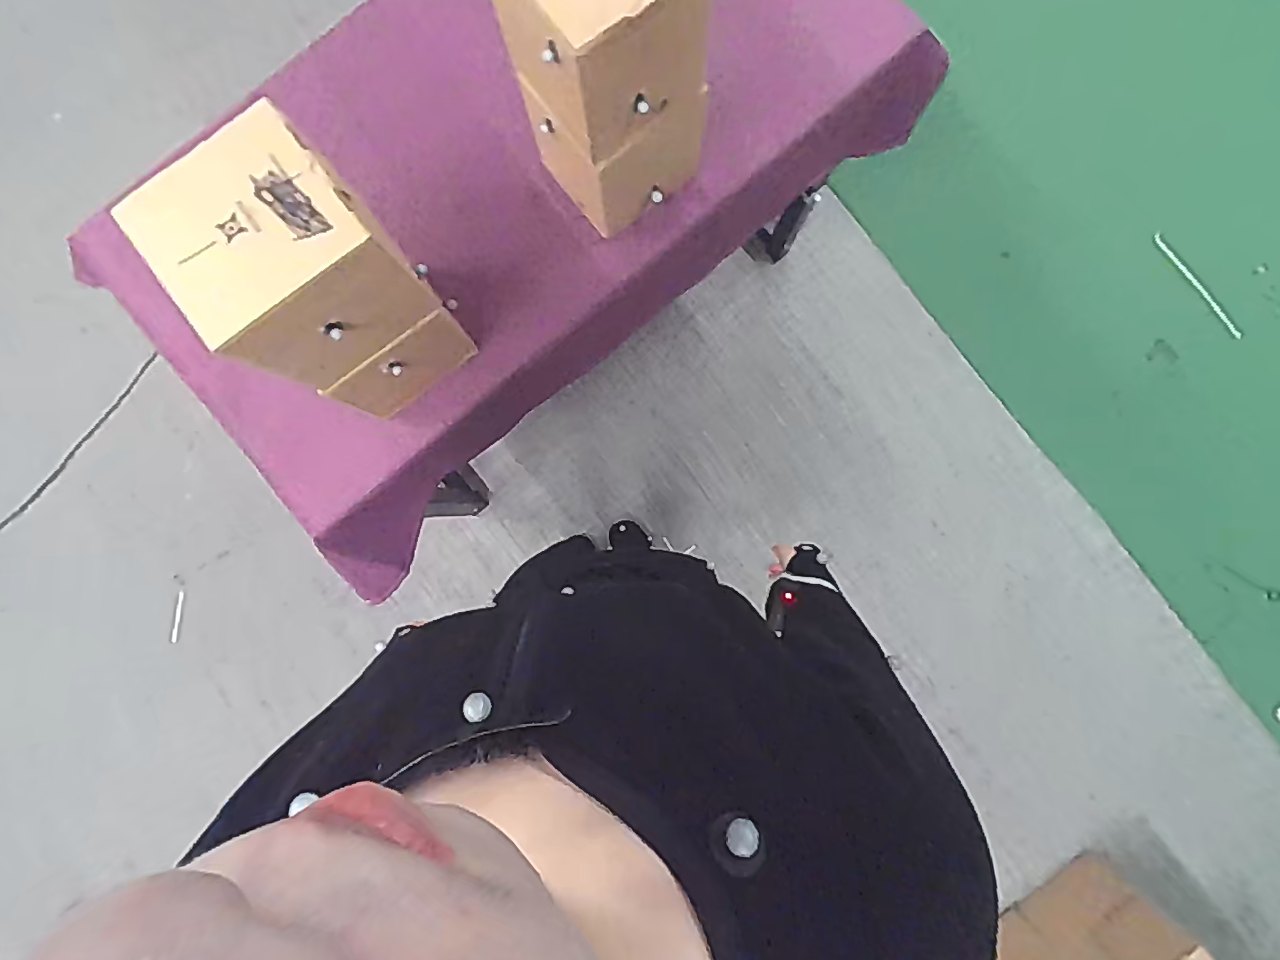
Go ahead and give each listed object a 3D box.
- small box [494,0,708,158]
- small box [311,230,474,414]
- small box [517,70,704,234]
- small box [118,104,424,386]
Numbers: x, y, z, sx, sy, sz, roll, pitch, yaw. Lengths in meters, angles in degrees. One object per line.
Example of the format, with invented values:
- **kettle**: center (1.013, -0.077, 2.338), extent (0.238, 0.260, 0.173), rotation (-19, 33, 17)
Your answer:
- **small box**: center (-0.047, -0.500, 0.579), extent (0.168, 0.176, 0.179), rotation (-38, 88, -1)
- **small box**: center (-0.357, -0.210, 0.729), extent (0.179, 0.176, 0.168), rotation (-37, 88, -2)
- **small box**: center (-0.038, -0.484, 0.741), extent (0.179, 0.176, 0.168), rotation (-38, 87, -2)
- **small box**: center (-0.355, -0.225, 0.566), extent (0.179, 0.176, 0.168), rotation (-38, 88, 0)
